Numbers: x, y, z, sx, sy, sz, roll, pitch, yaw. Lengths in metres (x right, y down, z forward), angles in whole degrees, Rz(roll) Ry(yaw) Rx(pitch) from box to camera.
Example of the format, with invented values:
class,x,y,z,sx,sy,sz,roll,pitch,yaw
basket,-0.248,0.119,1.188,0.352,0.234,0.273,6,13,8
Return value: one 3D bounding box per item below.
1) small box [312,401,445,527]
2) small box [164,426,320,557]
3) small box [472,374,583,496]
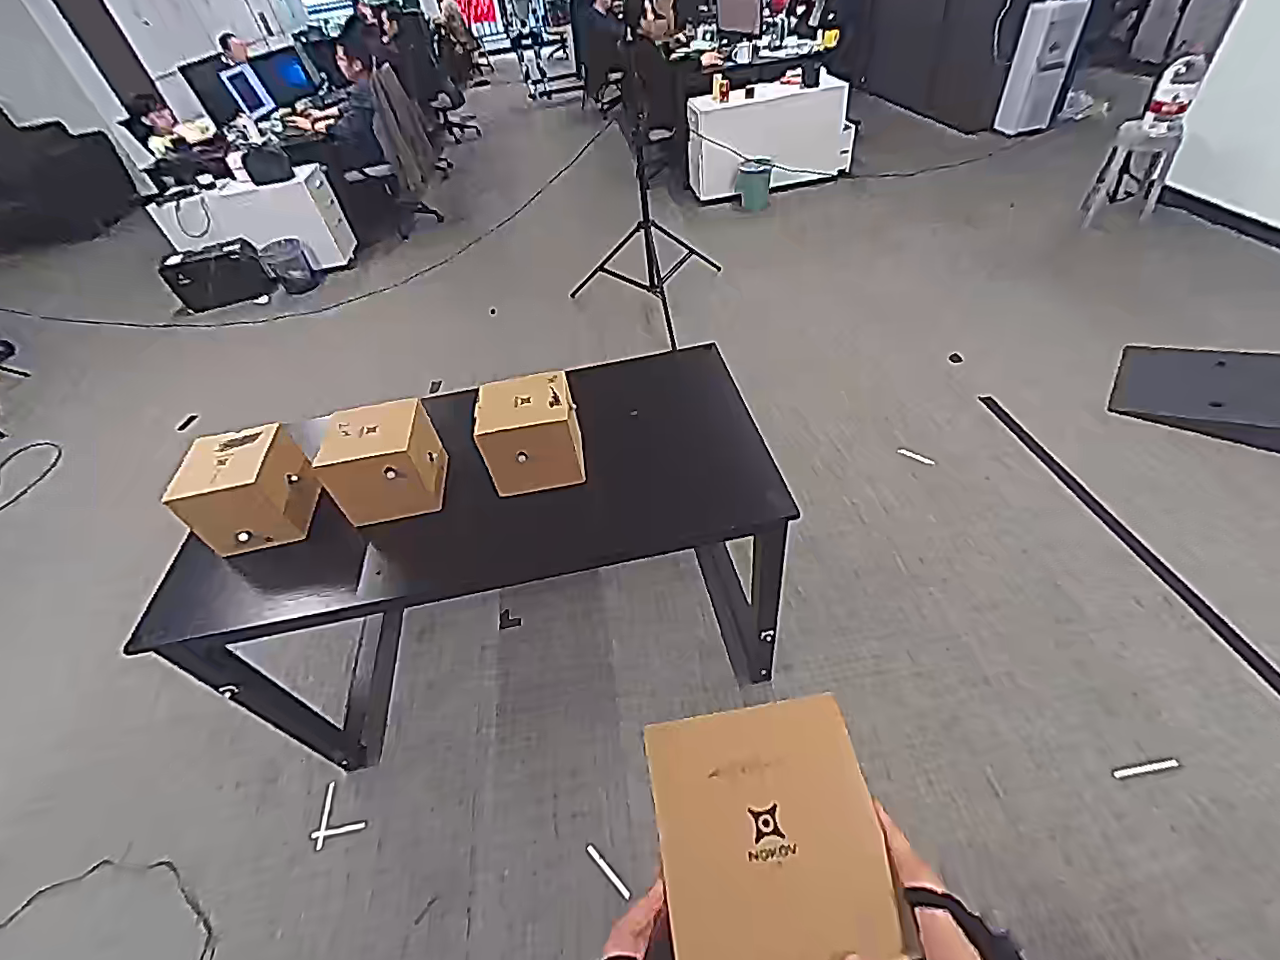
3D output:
class,x,y,z,sx,sy,sz,roll,pitch,yaw
small box,-0.508,-0.030,1.081,0.179,0.176,0.168,-11,45,-2
small box,-0.769,0.024,1.072,0.168,0.176,0.179,-13,46,-3
small box,-0.221,-0.087,1.093,0.179,0.176,0.168,-11,45,0
